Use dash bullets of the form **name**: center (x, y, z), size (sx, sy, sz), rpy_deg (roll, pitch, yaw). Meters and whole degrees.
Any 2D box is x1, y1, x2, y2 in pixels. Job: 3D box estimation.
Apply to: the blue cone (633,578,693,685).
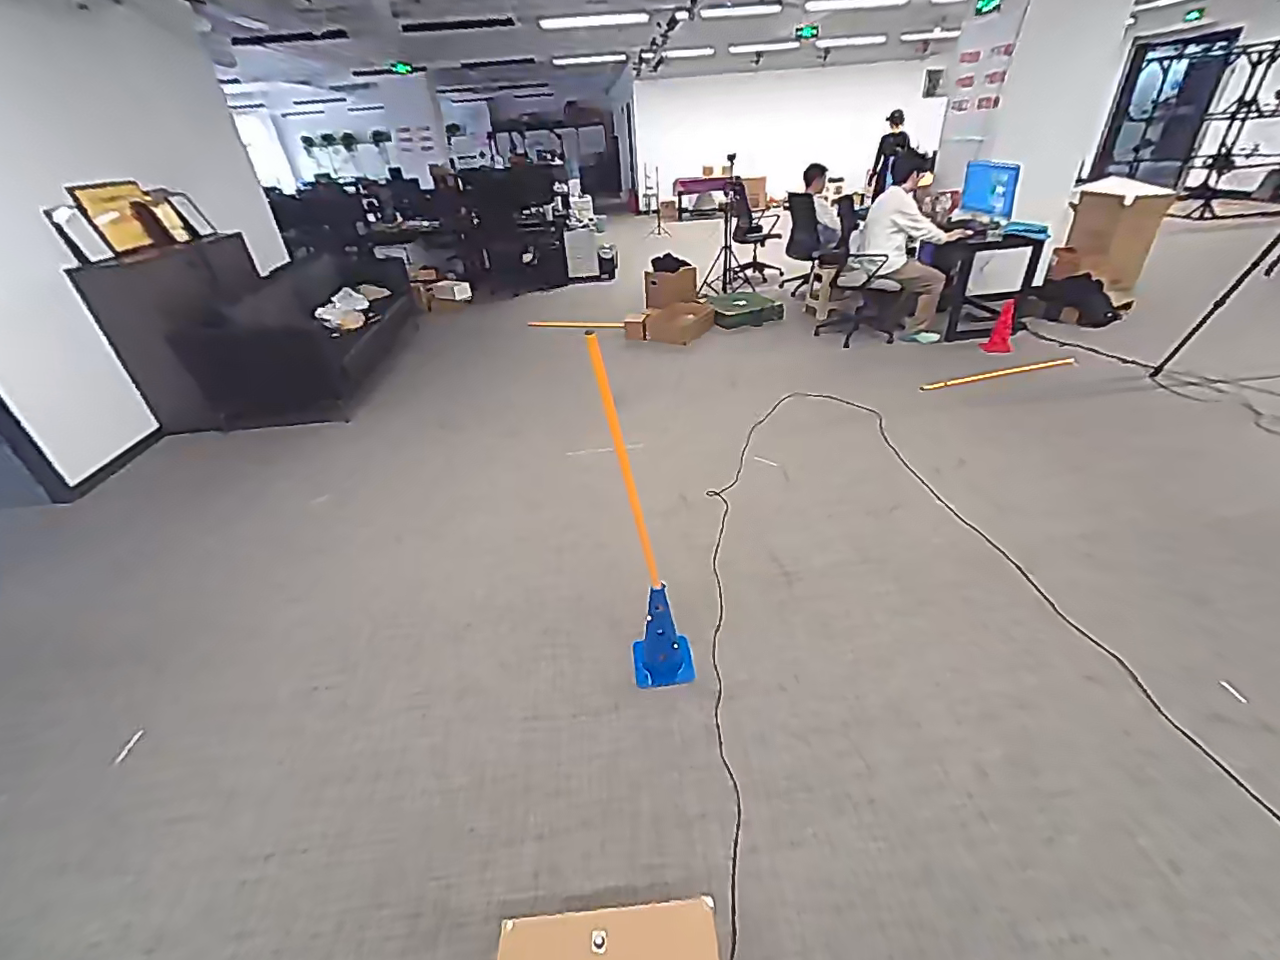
- **blue cone**: center (0.064, 0.481, 1.776), size (0.193, 0.380, 0.192), rpy_deg (-9, 32, -4)
